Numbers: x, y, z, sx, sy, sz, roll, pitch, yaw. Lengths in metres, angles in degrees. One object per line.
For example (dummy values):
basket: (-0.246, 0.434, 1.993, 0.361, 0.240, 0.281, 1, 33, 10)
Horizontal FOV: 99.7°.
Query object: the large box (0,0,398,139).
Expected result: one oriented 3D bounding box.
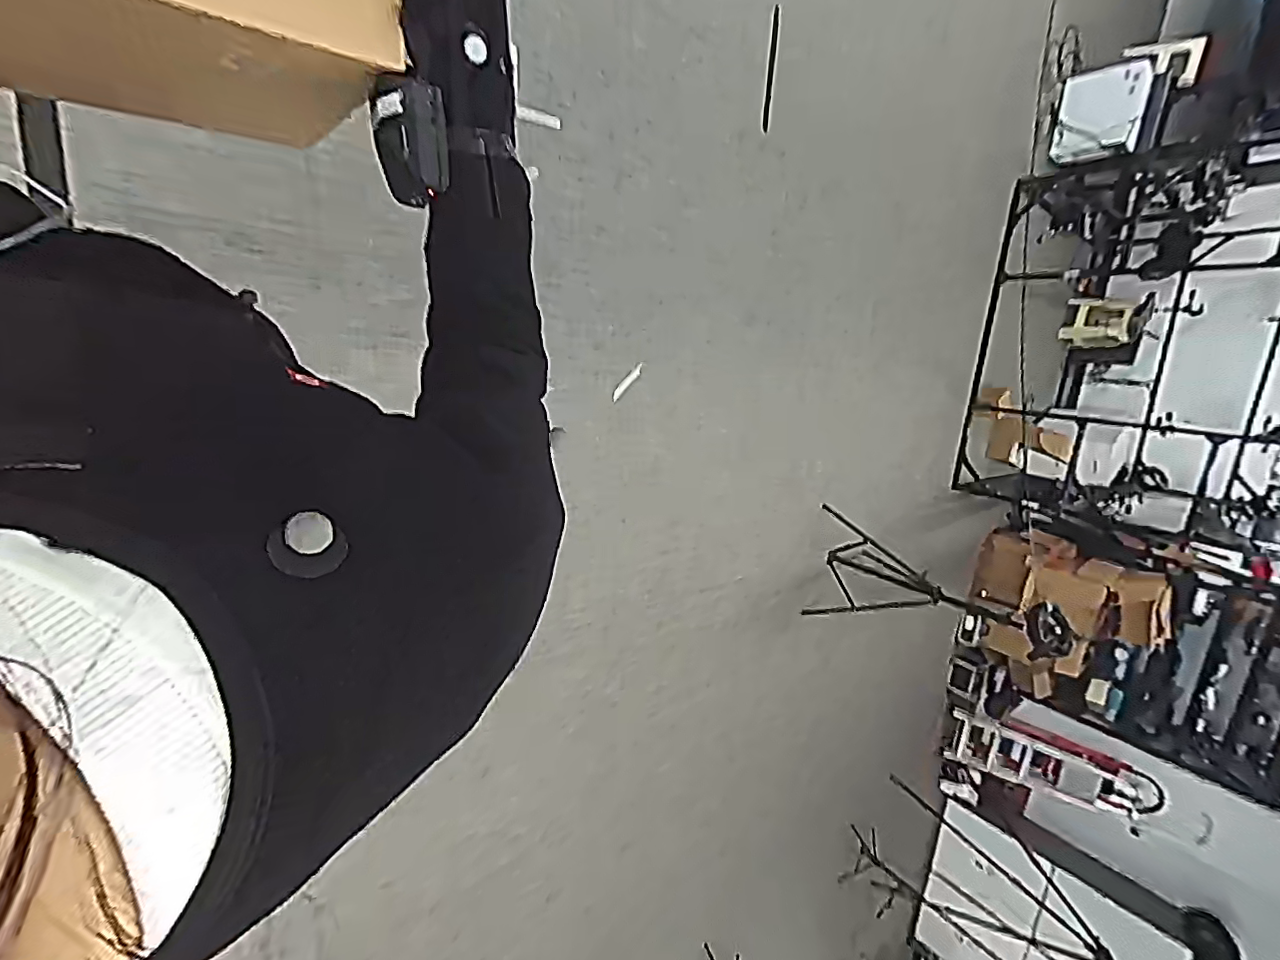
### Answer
large box: (-0.389, -0.410, 0.271, 0.408, 0.320, 0.320, -11, 115, -38)
